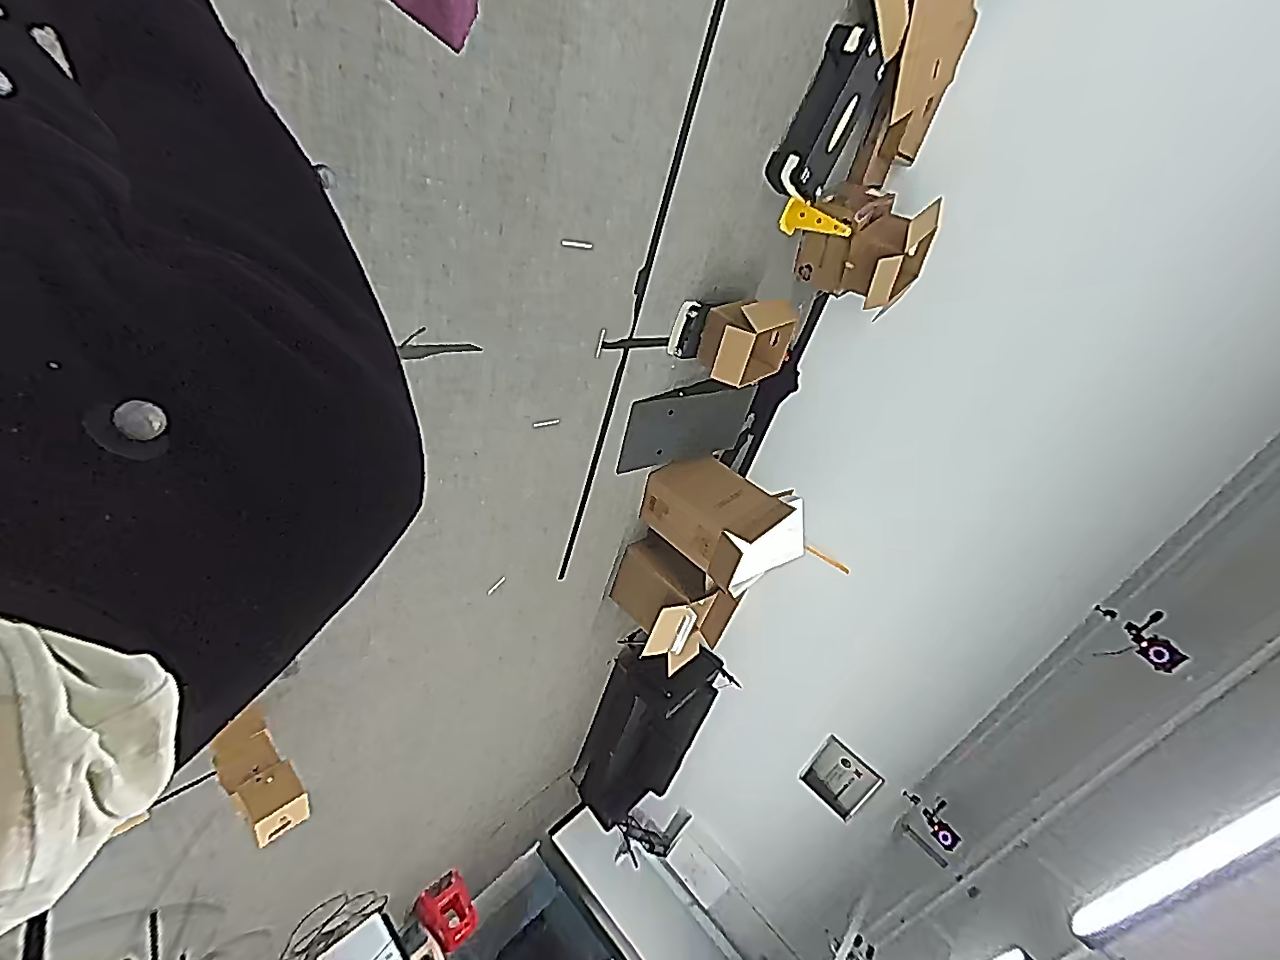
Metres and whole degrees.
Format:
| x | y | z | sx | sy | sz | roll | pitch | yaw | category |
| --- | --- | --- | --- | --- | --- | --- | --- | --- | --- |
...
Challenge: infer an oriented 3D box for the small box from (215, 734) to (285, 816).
| x | y | z | sx | sy | sz | roll | pitch | yaw | category |
| --- | --- | --- | --- | --- | --- | --- | --- | --- | --- |
| -1.444 | 1.096 | 2.022 | 0.179 | 0.176 | 0.168 | -25 | 141 | -43 | small box |

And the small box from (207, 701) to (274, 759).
| x | y | z | sx | sy | sz | roll | pitch | yaw | category |
| --- | --- | --- | --- | --- | --- | --- | --- | --- | --- |
| -1.551 | 1.002 | 2.105 | 0.168 | 0.176 | 0.179 | -24 | 140 | -44 | small box |

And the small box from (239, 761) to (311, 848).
| x | y | z | sx | sy | sz | roll | pitch | yaw | category |
| --- | --- | --- | --- | --- | --- | --- | --- | --- | --- |
| -1.311 | 1.160 | 1.945 | 0.168 | 0.176 | 0.179 | -22 | 139 | -46 | small box |
